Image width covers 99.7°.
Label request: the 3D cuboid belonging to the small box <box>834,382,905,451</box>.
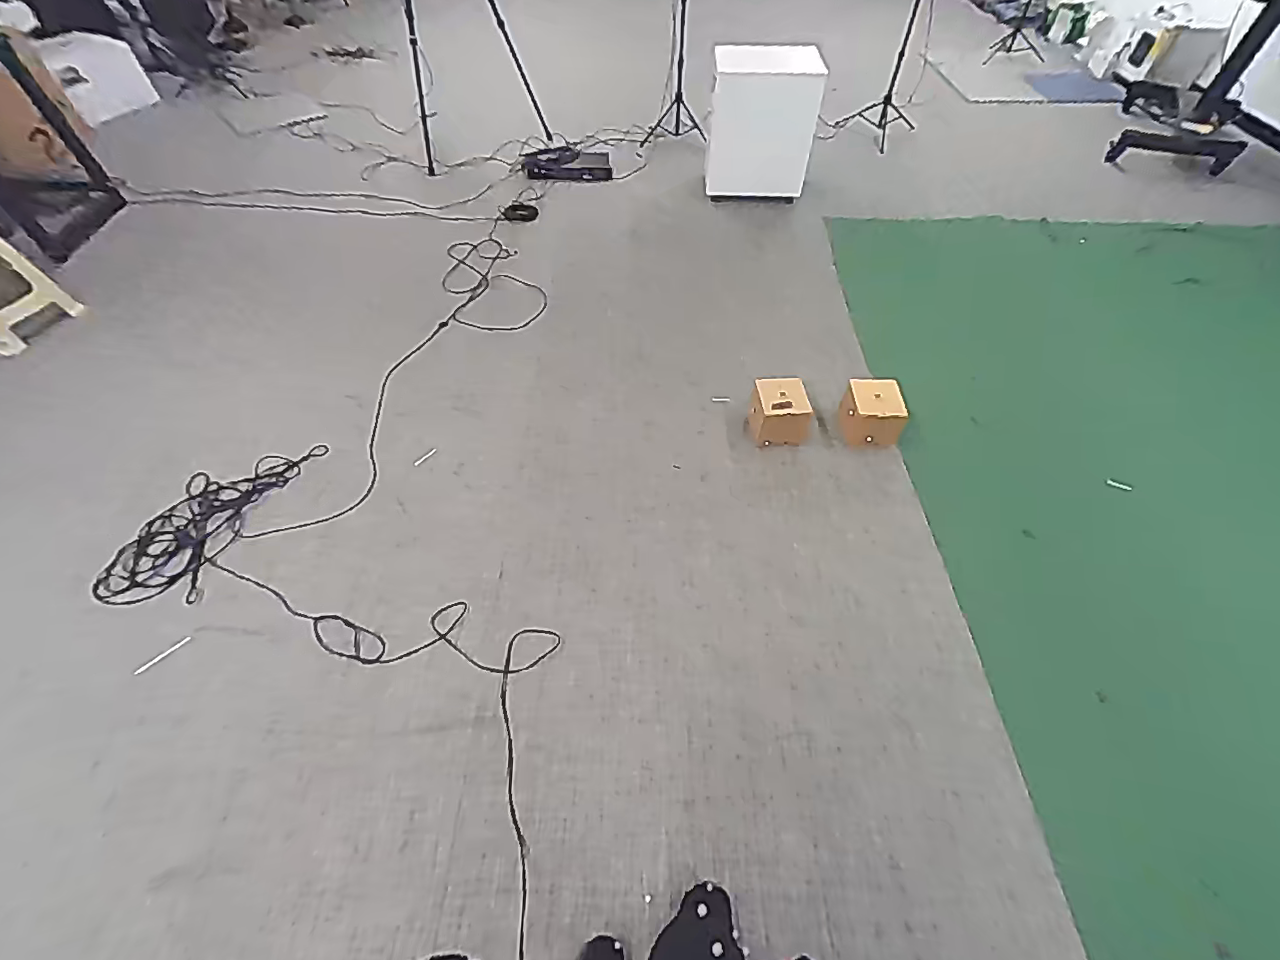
[{"bbox_3d":[0.805,-0.225,1.919,0.168,0.176,0.179,1,53,1],"label":"small box"}]

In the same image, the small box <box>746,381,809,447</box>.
[{"bbox_3d":[0.482,-0.229,1.915,0.168,0.176,0.179,-3,52,-3],"label":"small box"}]
